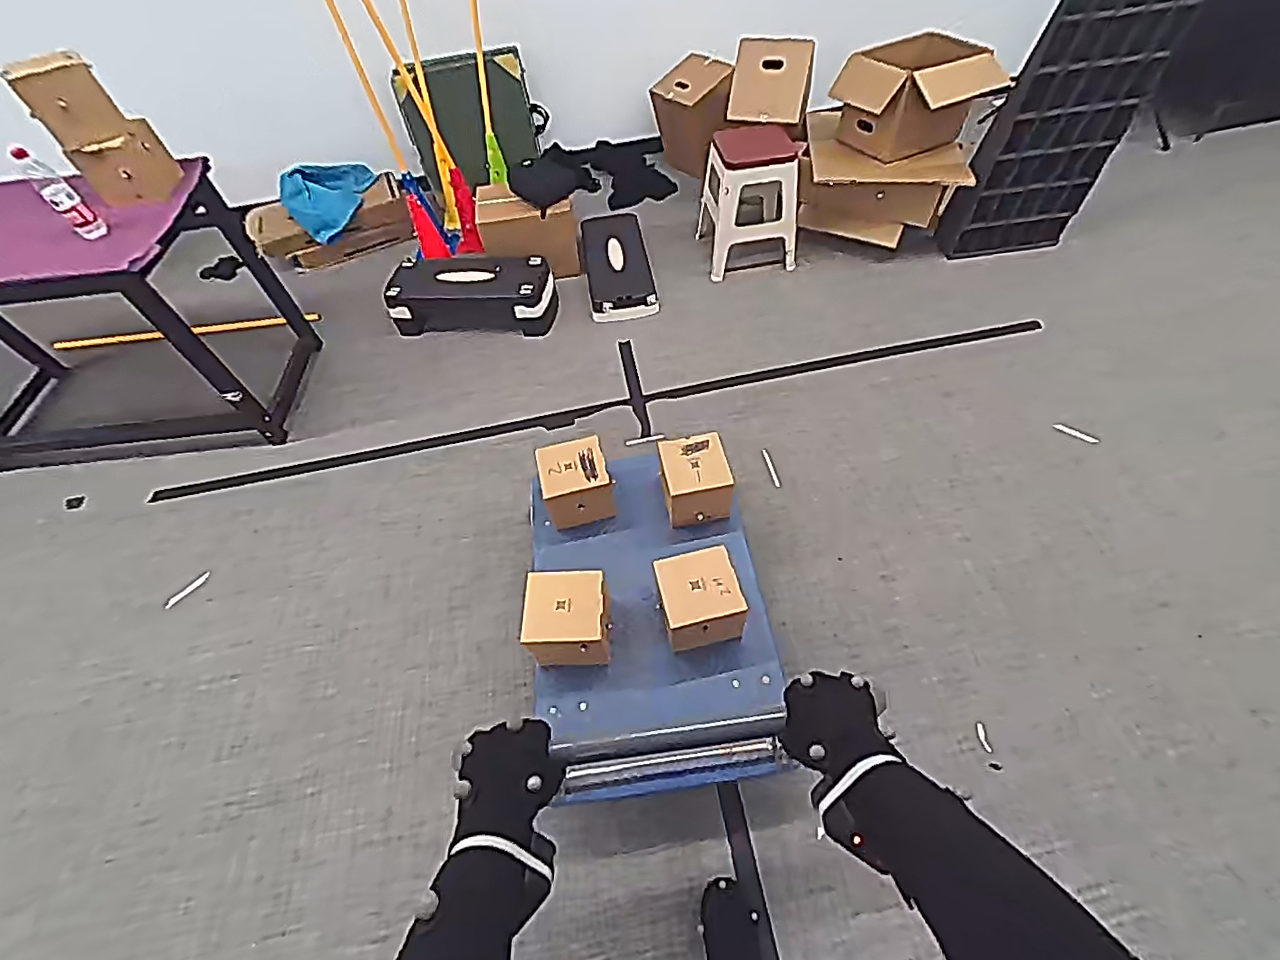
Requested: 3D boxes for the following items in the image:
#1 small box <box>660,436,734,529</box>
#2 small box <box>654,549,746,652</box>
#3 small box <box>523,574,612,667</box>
[{"bbox_3d":[0.148,0.009,1.466,0.168,0.176,0.179,-11,56,-3],"label":"small box"},{"bbox_3d":[0.138,0.289,1.273,0.179,0.176,0.168,-13,56,-4],"label":"small box"},{"bbox_3d":[-0.163,0.333,1.267,0.179,0.176,0.168,-2,55,1],"label":"small box"}]
